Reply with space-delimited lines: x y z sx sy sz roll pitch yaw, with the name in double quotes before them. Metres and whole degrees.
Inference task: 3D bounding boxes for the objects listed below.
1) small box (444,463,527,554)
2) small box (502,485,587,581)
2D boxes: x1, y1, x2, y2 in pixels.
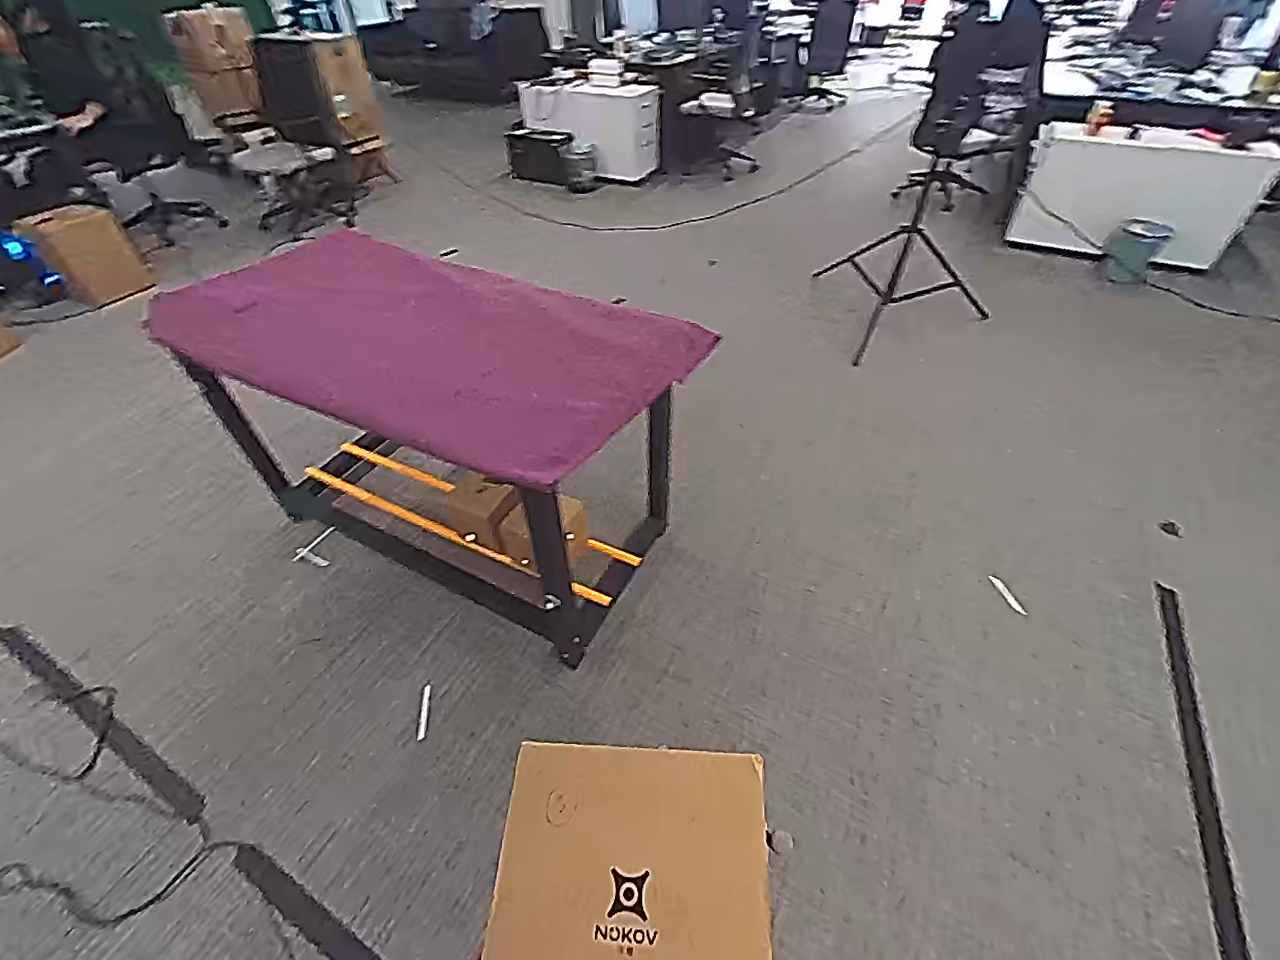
"small box" -0.444 0.085 1.603 0.168 0.176 0.179 19 50 20
"small box" -0.262 0.151 1.530 0.168 0.176 0.179 19 50 20
